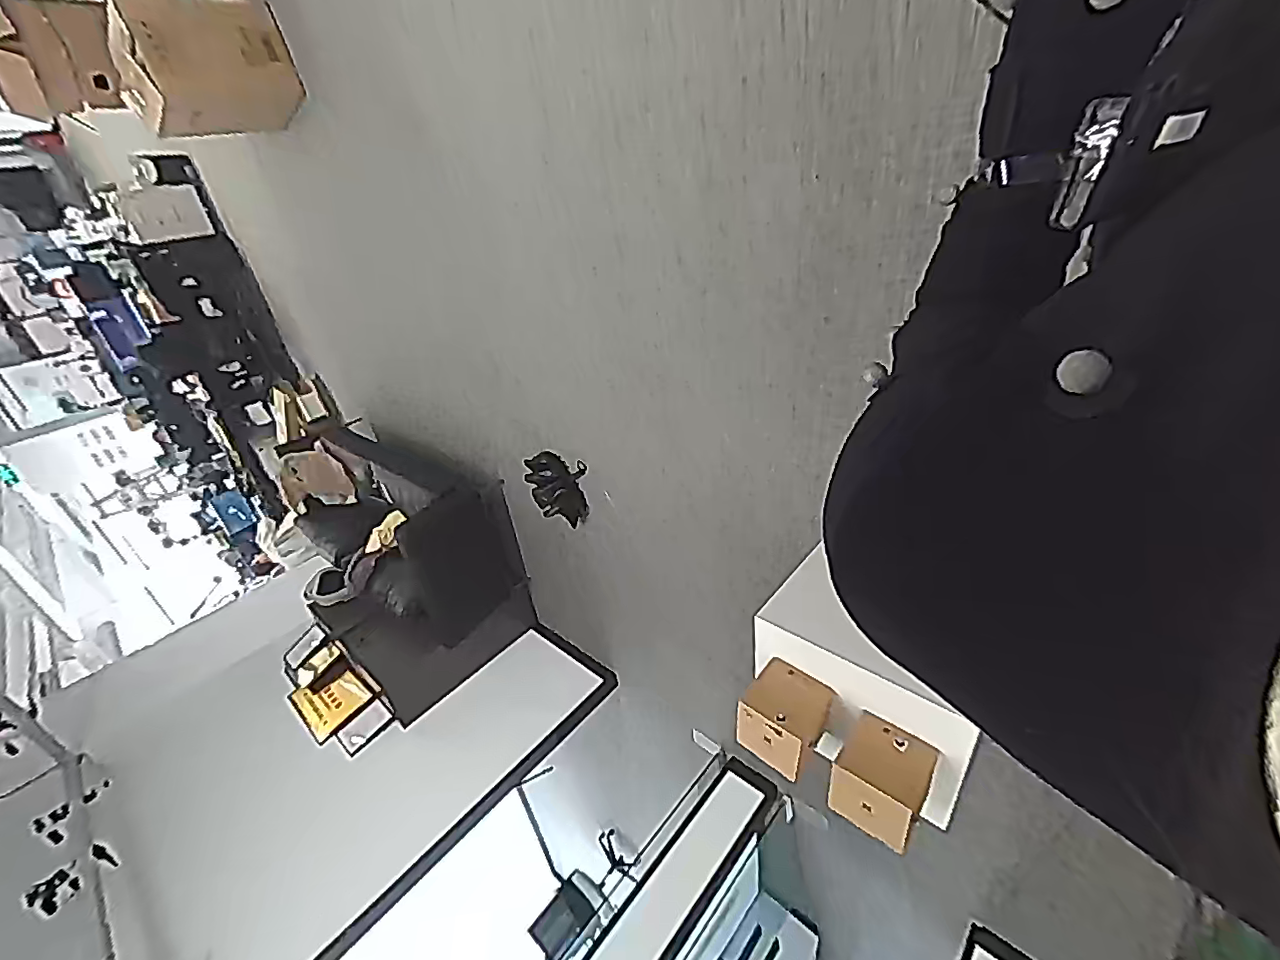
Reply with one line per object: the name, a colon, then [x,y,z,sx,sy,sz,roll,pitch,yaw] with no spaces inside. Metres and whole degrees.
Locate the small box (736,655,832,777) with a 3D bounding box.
small box: [0.355,0.575,1.333,0.168,0.176,0.179,24,134,35]

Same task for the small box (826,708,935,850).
small box: [0.532,0.652,1.196,0.168,0.176,0.179,19,128,39]
